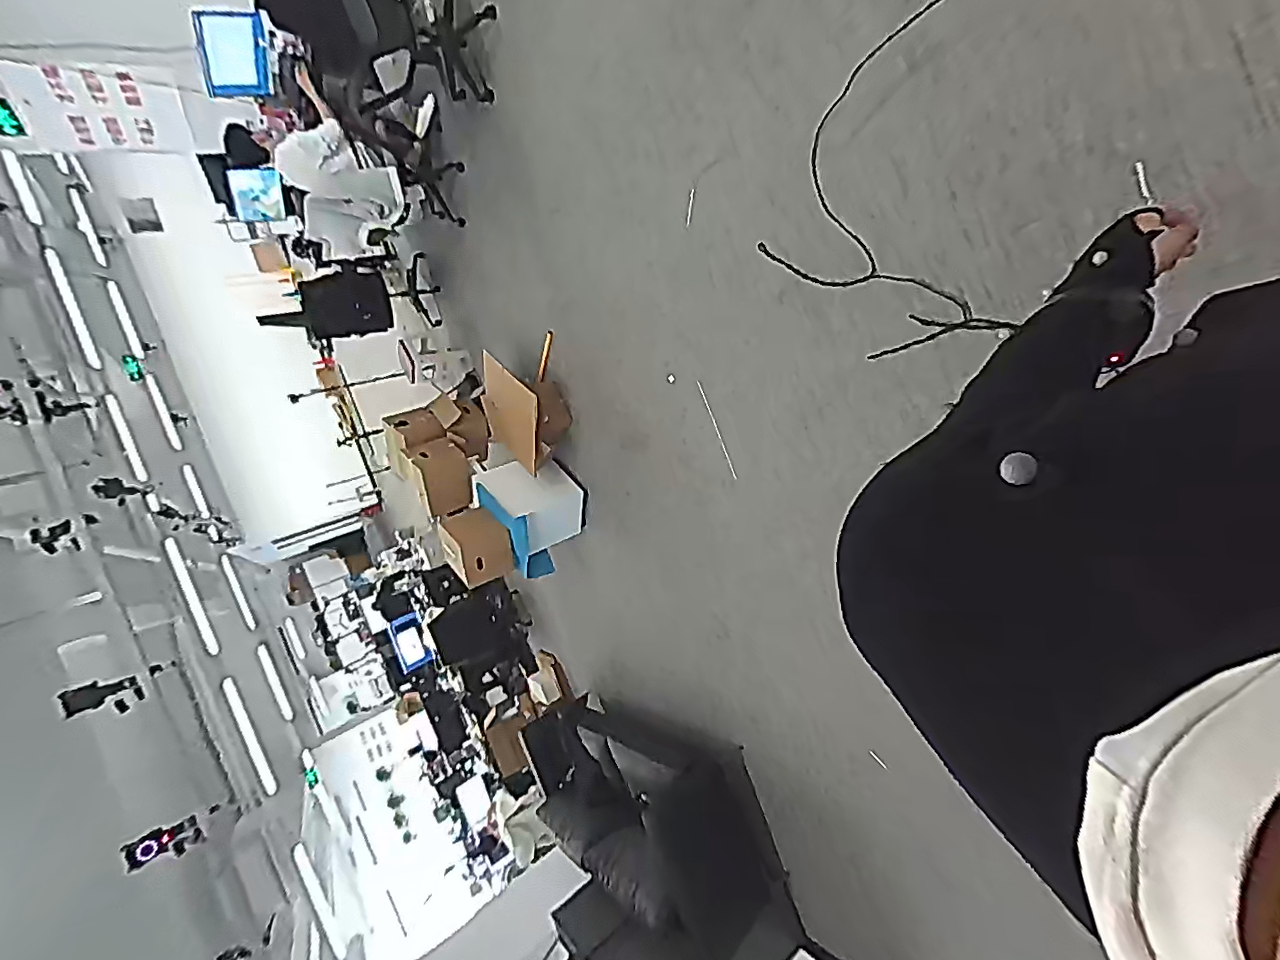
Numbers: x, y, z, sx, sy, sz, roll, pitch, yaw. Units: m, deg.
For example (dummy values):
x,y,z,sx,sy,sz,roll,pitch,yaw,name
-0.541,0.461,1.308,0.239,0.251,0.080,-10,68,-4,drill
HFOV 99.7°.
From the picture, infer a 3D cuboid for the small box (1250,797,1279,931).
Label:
x,y,z,sx,sy,sz,roll,pitch,yaw,name
1.293,0.744,1.009,0.168,0.176,0.179,-15,96,55,small box
